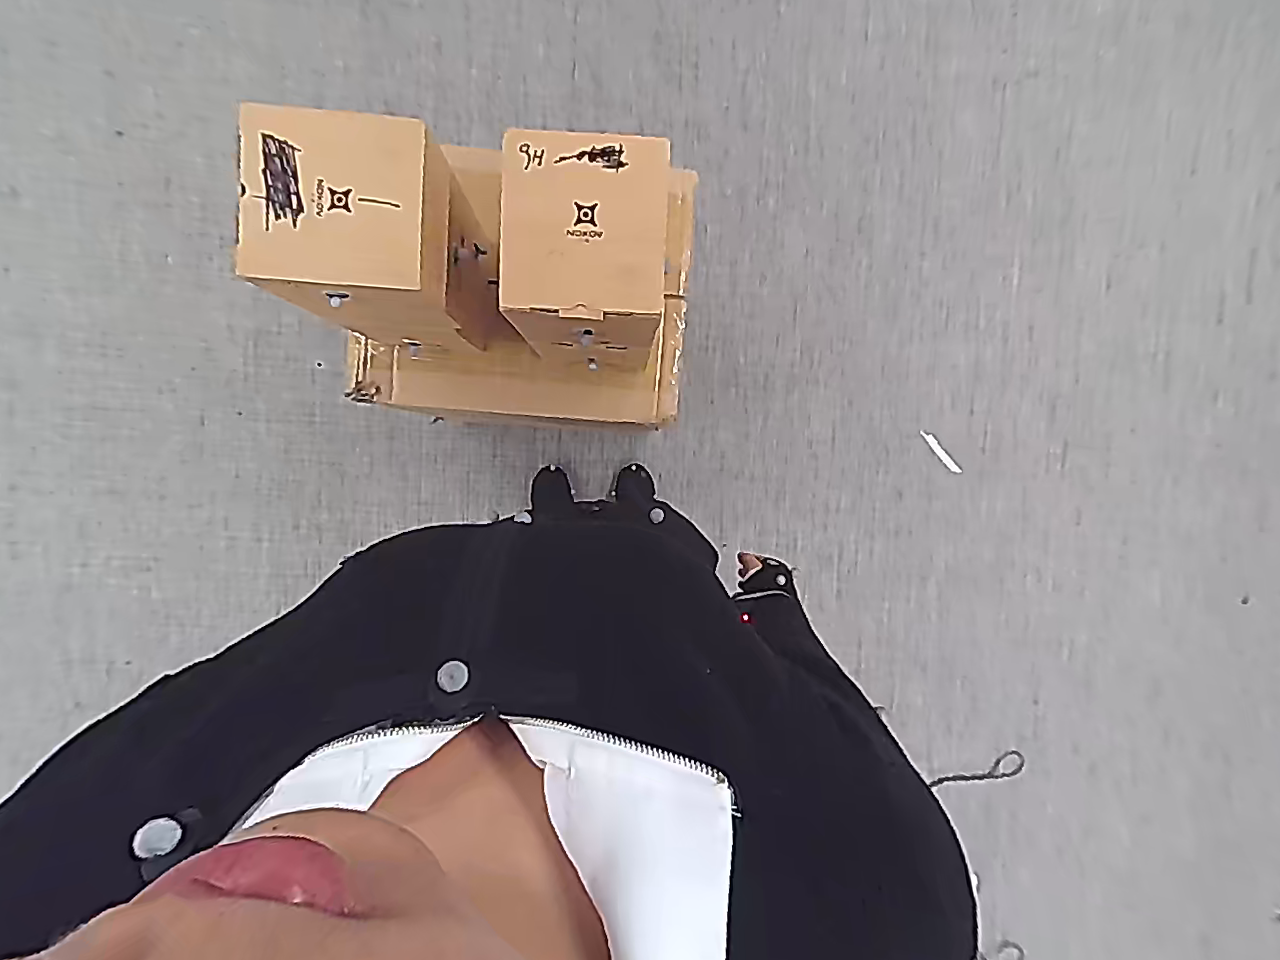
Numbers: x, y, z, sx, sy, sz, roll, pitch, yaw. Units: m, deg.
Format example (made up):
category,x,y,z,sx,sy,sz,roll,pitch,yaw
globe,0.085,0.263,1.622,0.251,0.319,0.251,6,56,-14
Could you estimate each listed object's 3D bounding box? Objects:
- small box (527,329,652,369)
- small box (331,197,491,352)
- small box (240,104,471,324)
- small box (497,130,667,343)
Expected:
category,x,y,z,sx,sy,sz,roll,pitch,yaw
small box,-0.063,-0.267,0.782,0.168,0.176,0.179,4,93,-1
small box,-0.314,-0.290,0.771,0.168,0.176,0.179,4,94,-3
small box,-0.303,-0.279,0.607,0.179,0.176,0.168,3,93,-4
small box,-0.059,-0.259,0.618,0.168,0.176,0.179,3,93,-1
